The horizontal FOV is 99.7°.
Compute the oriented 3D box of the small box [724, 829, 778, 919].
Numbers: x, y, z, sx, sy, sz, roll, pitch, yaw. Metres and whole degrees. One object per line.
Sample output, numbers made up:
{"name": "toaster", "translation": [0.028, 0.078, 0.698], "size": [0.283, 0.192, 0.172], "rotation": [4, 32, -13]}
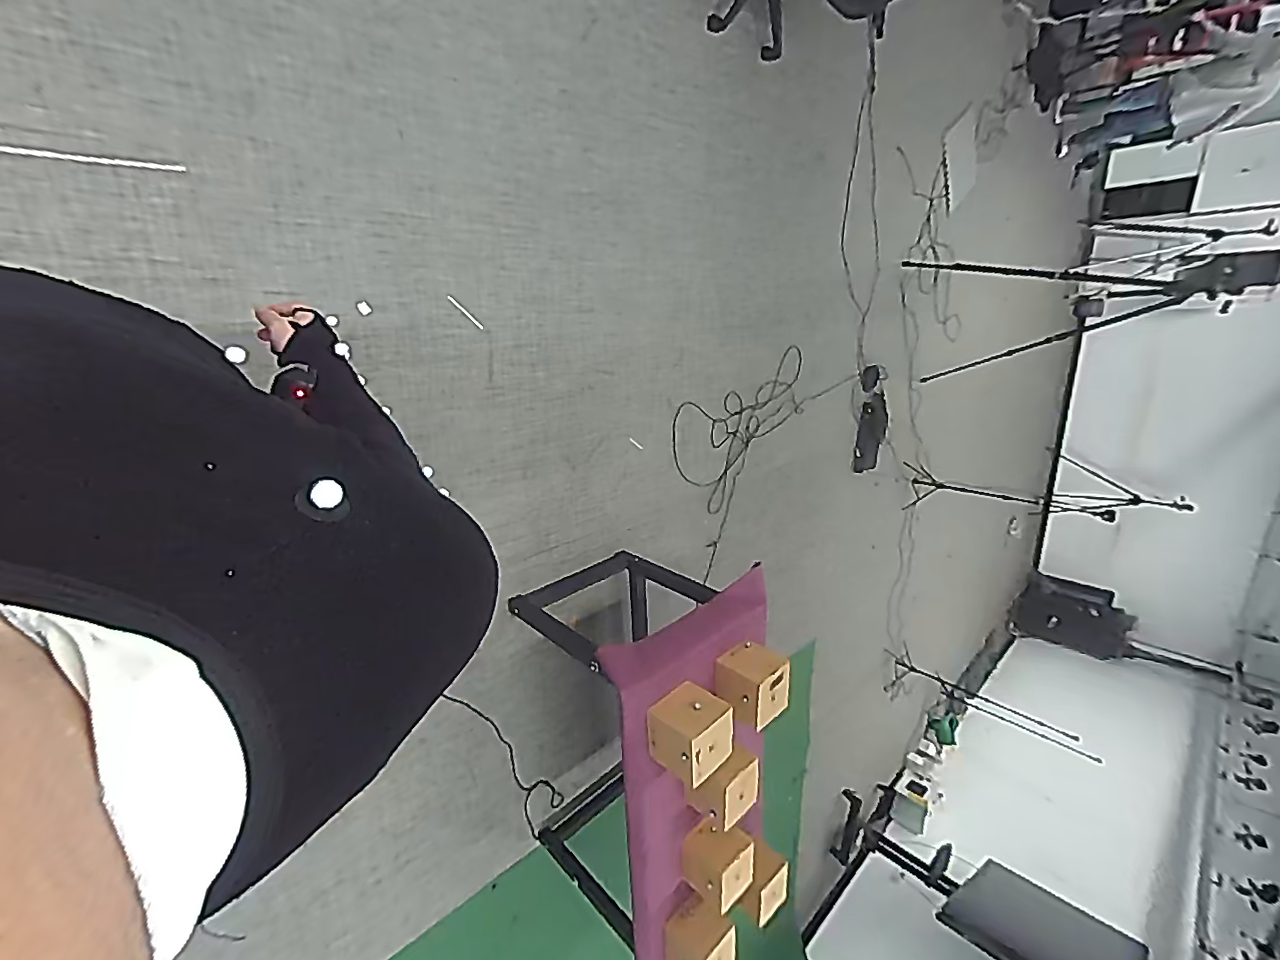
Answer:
{"name": "small box", "translation": [0.396, 1.466, 2.026], "size": [0.168, 0.176, 0.179], "rotation": [-14, 110, -40]}

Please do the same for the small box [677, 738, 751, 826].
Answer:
{"name": "small box", "translation": [0.229, 0.927, 1.708], "size": [0.168, 0.176, 0.179], "rotation": [-16, 113, -41]}

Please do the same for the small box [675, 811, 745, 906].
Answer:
{"name": "small box", "translation": [0.229, 1.243, 1.803], "size": [0.168, 0.176, 0.179], "rotation": [-16, 111, -40]}

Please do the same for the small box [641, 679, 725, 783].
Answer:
{"name": "small box", "translation": [0.122, 0.700, 1.536], "size": [0.179, 0.176, 0.168], "rotation": [-20, 115, -41]}

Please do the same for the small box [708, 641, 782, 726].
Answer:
{"name": "small box", "translation": [0.333, 0.637, 1.726], "size": [0.168, 0.176, 0.179], "rotation": [-17, 114, -40]}
